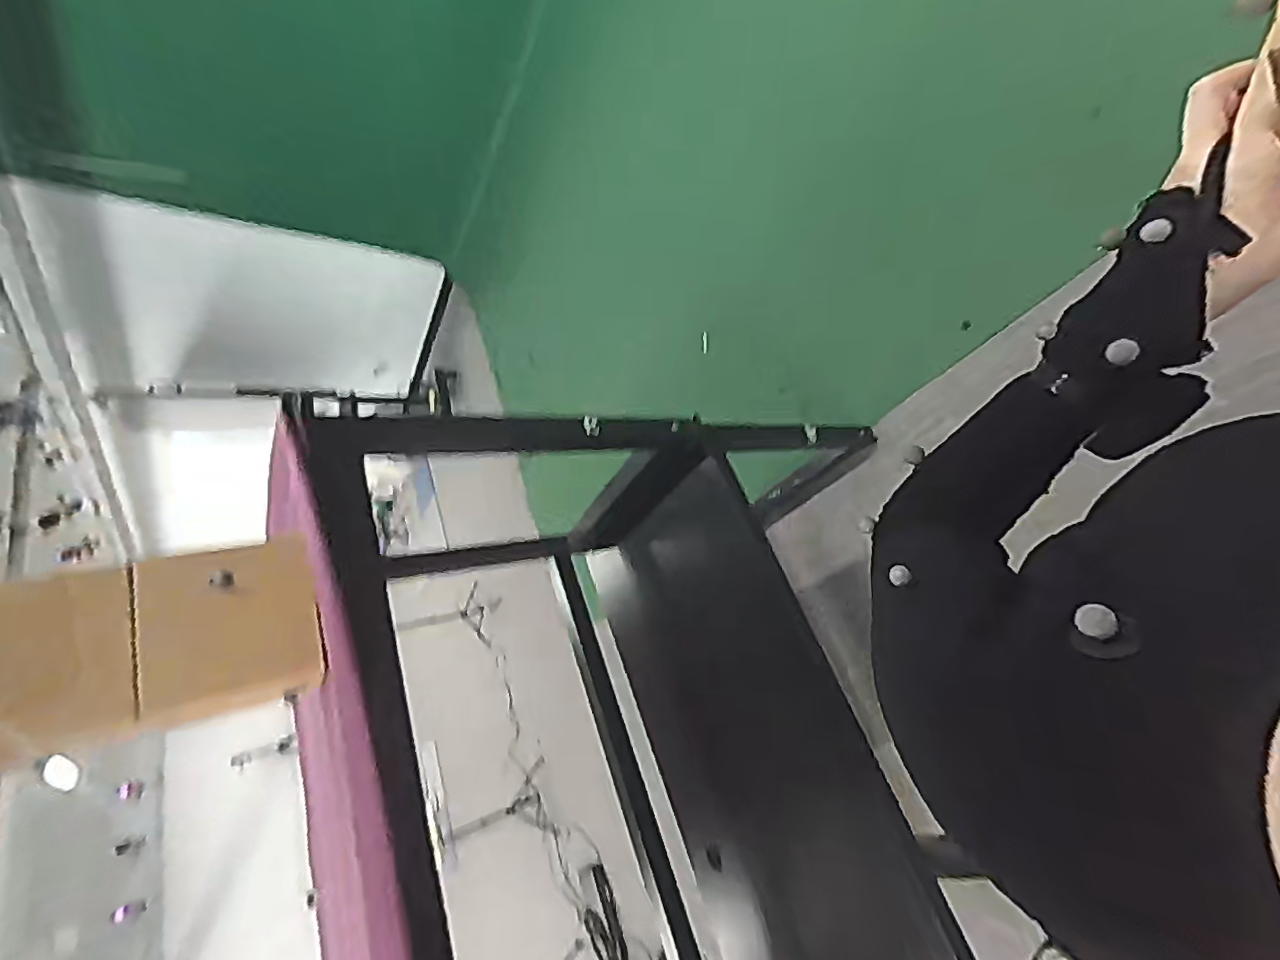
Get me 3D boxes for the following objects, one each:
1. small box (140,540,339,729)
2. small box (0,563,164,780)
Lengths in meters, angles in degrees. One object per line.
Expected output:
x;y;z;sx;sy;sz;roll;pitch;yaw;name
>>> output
-0.486;0.183;0.667;0.168;0.176;0.179;-43;63;49;small box
-0.619;0.204;0.577;0.168;0.176;0.179;-38;65;50;small box
